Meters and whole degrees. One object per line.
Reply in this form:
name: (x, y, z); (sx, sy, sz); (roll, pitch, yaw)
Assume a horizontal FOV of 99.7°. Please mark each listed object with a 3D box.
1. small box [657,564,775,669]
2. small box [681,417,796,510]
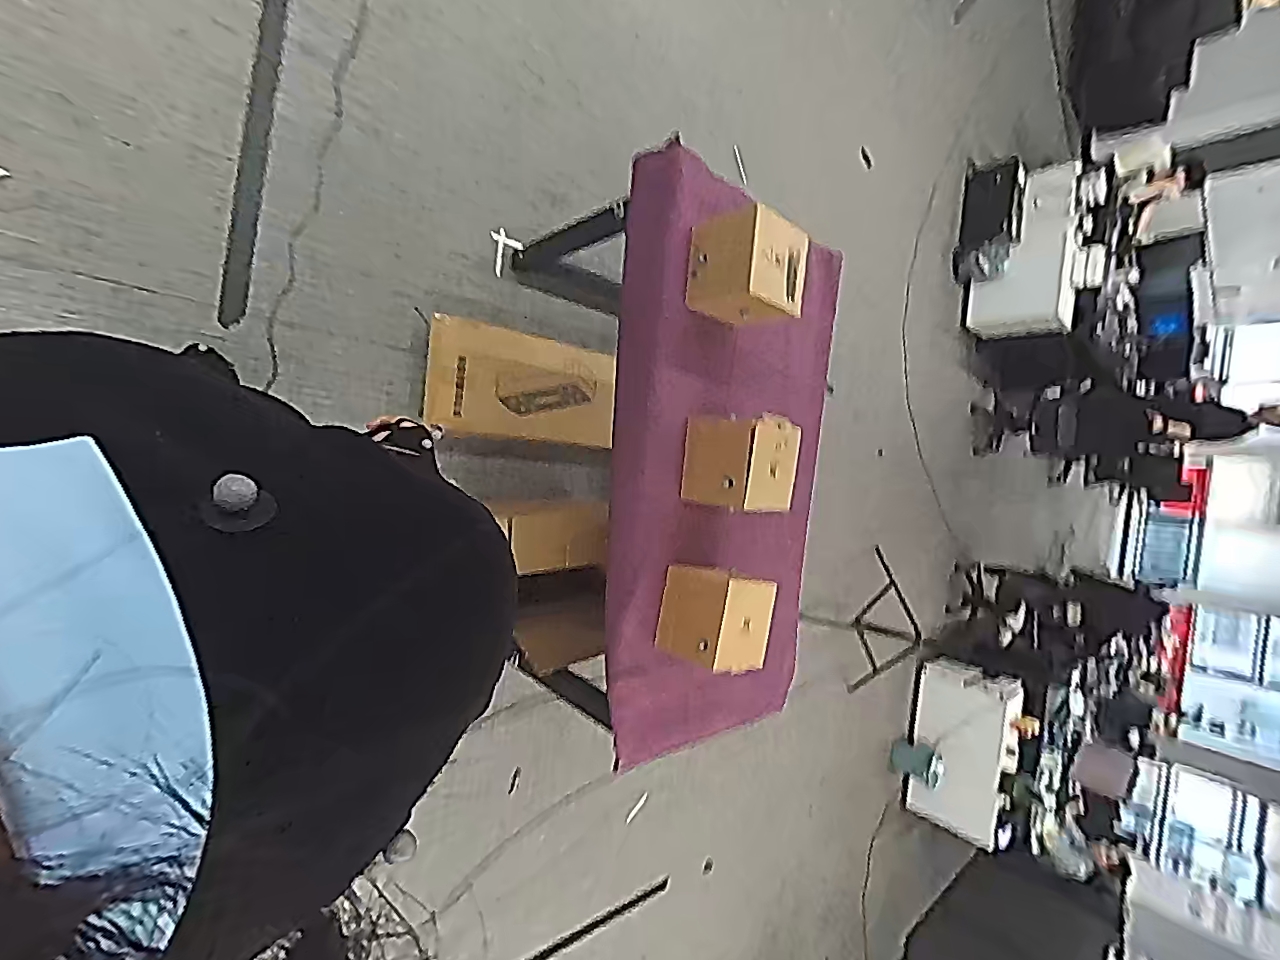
small box: (0.156, 0.279, 1.135); (0.168, 0.176, 0.179); (13, 86, -42)
small box: (0.205, -0.036, 1.139); (0.168, 0.176, 0.179); (3, 93, -44)
